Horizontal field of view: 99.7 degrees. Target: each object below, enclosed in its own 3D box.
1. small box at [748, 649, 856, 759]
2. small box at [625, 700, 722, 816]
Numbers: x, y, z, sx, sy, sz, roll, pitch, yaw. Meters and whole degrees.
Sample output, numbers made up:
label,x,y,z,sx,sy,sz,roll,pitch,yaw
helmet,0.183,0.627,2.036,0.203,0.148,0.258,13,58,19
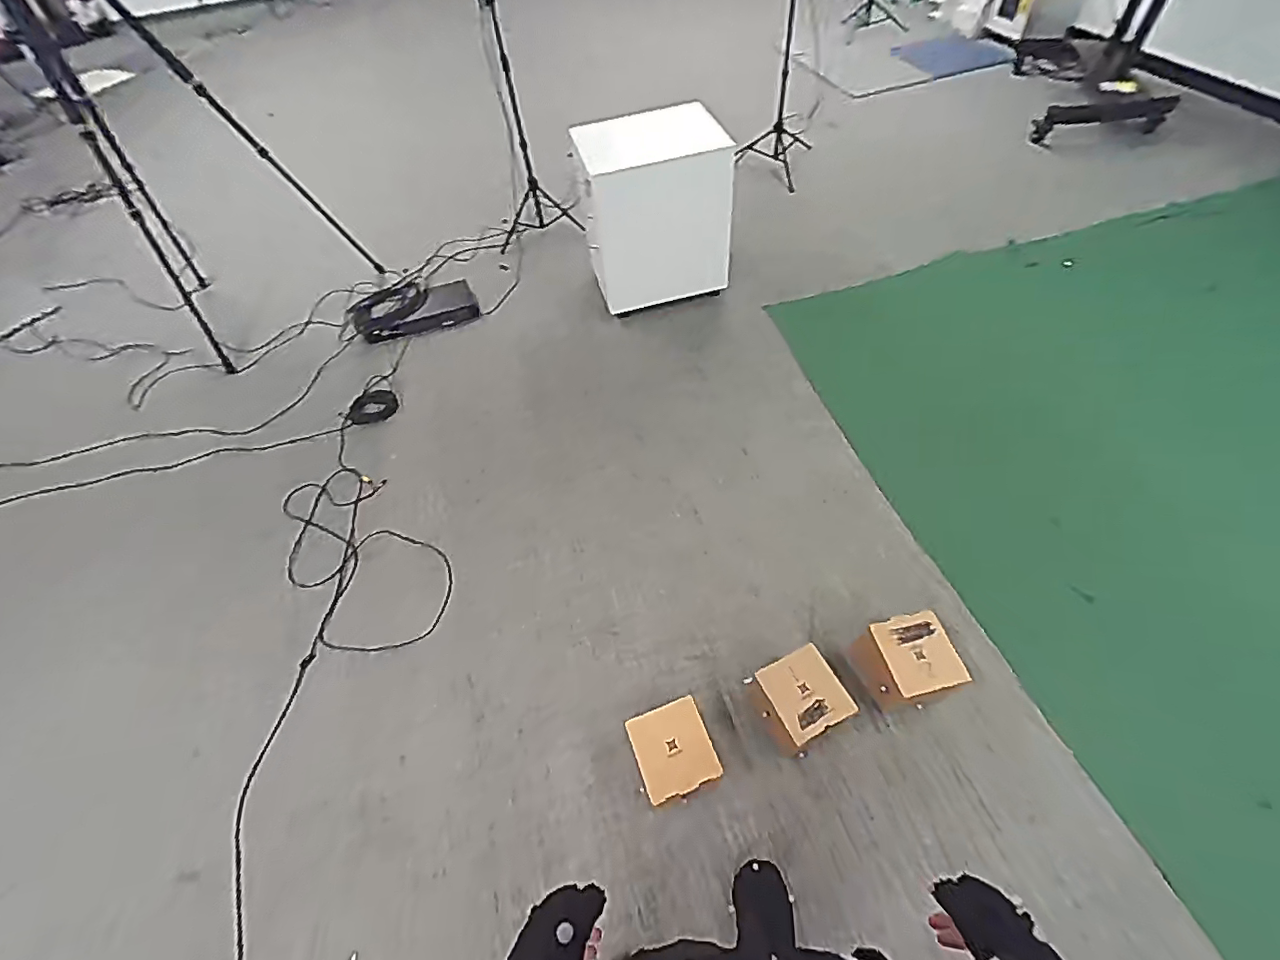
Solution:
label,x,y,z,sx,sy,sz,roll,pitch,yaw
small box,0.372,0.535,1.274,0.168,0.176,0.179,-23,55,-12
small box,0.074,0.635,1.229,0.168,0.176,0.179,-20,56,-9
